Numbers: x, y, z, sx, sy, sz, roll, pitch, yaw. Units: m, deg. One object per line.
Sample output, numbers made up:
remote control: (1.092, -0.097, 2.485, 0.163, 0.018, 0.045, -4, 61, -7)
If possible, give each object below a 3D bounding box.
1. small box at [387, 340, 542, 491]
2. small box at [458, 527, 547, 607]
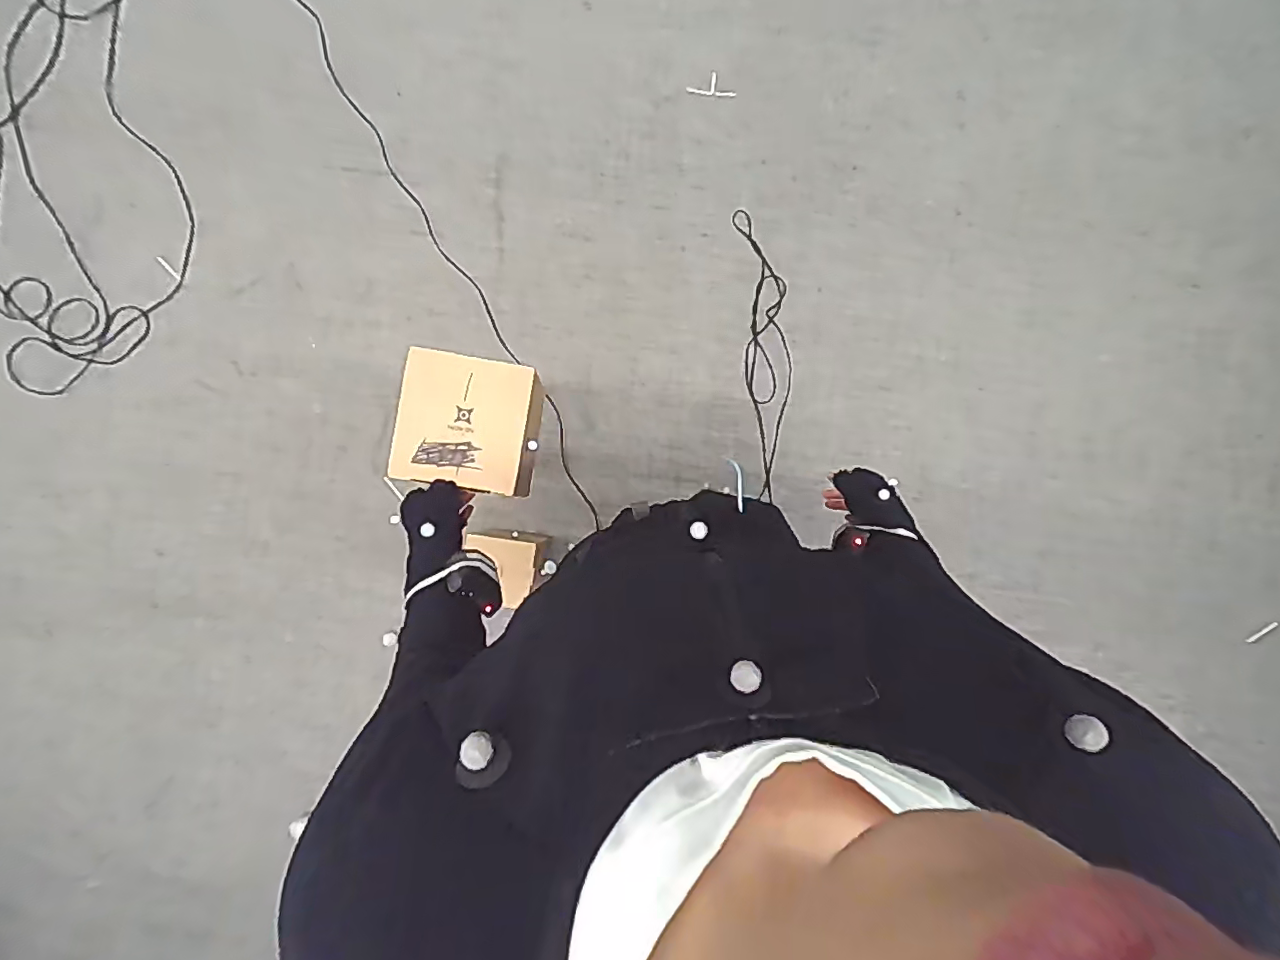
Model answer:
small box: (-0.240, -0.082, 0.784, 0.168, 0.176, 0.179, 10, 87, -6)
small box: (-0.345, 0.216, 1.391, 0.179, 0.176, 0.168, 9, 90, 0)
